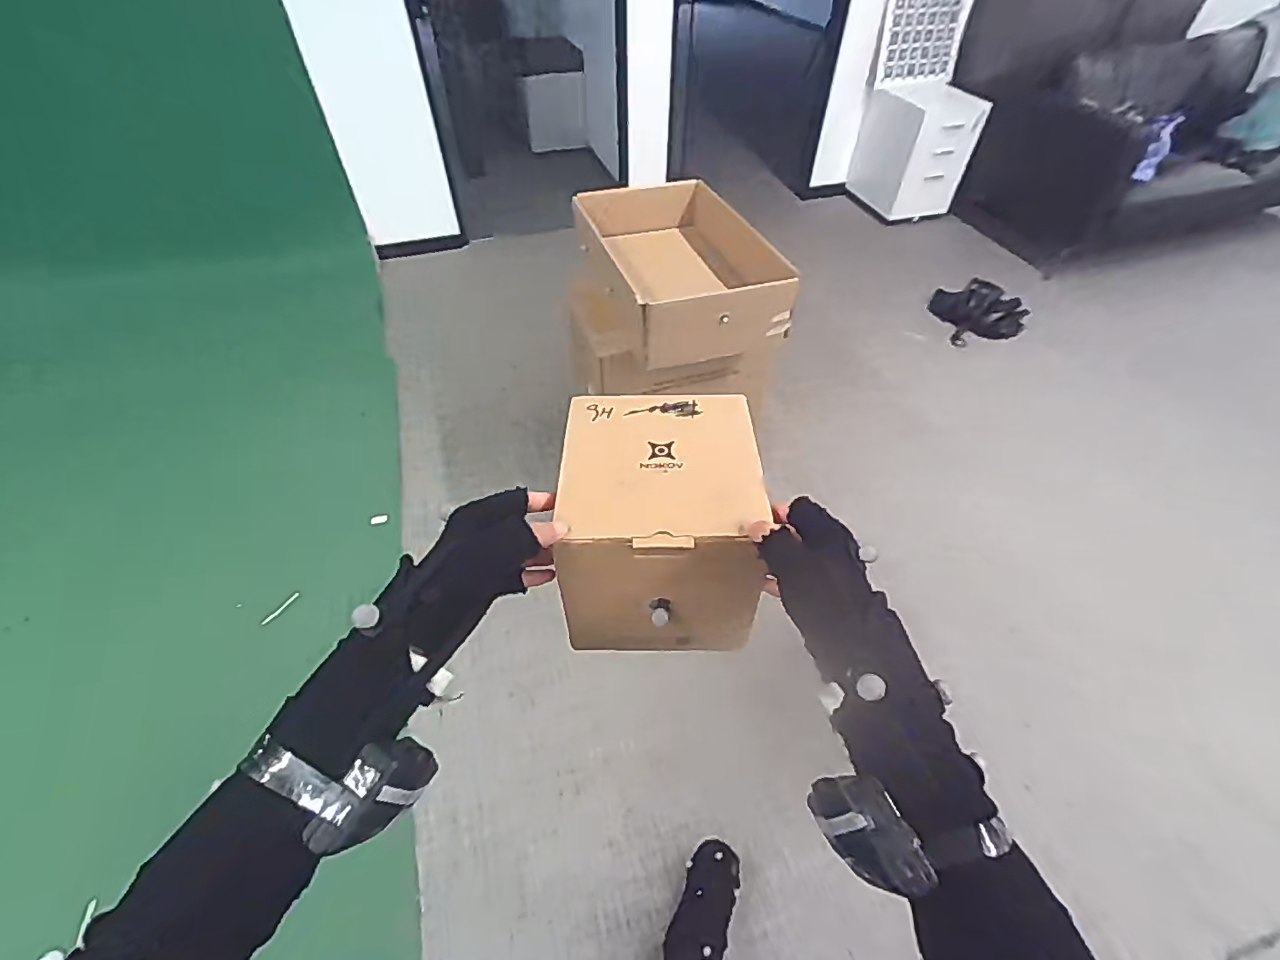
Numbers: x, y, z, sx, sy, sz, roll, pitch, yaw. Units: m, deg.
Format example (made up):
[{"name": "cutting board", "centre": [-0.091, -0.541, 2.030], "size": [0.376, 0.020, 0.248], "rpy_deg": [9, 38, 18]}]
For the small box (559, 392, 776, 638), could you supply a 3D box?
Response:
[{"name": "small box", "centre": [0.024, 0.036, 0.514], "size": [0.168, 0.176, 0.179], "rpy_deg": [0, 46, 1]}]
